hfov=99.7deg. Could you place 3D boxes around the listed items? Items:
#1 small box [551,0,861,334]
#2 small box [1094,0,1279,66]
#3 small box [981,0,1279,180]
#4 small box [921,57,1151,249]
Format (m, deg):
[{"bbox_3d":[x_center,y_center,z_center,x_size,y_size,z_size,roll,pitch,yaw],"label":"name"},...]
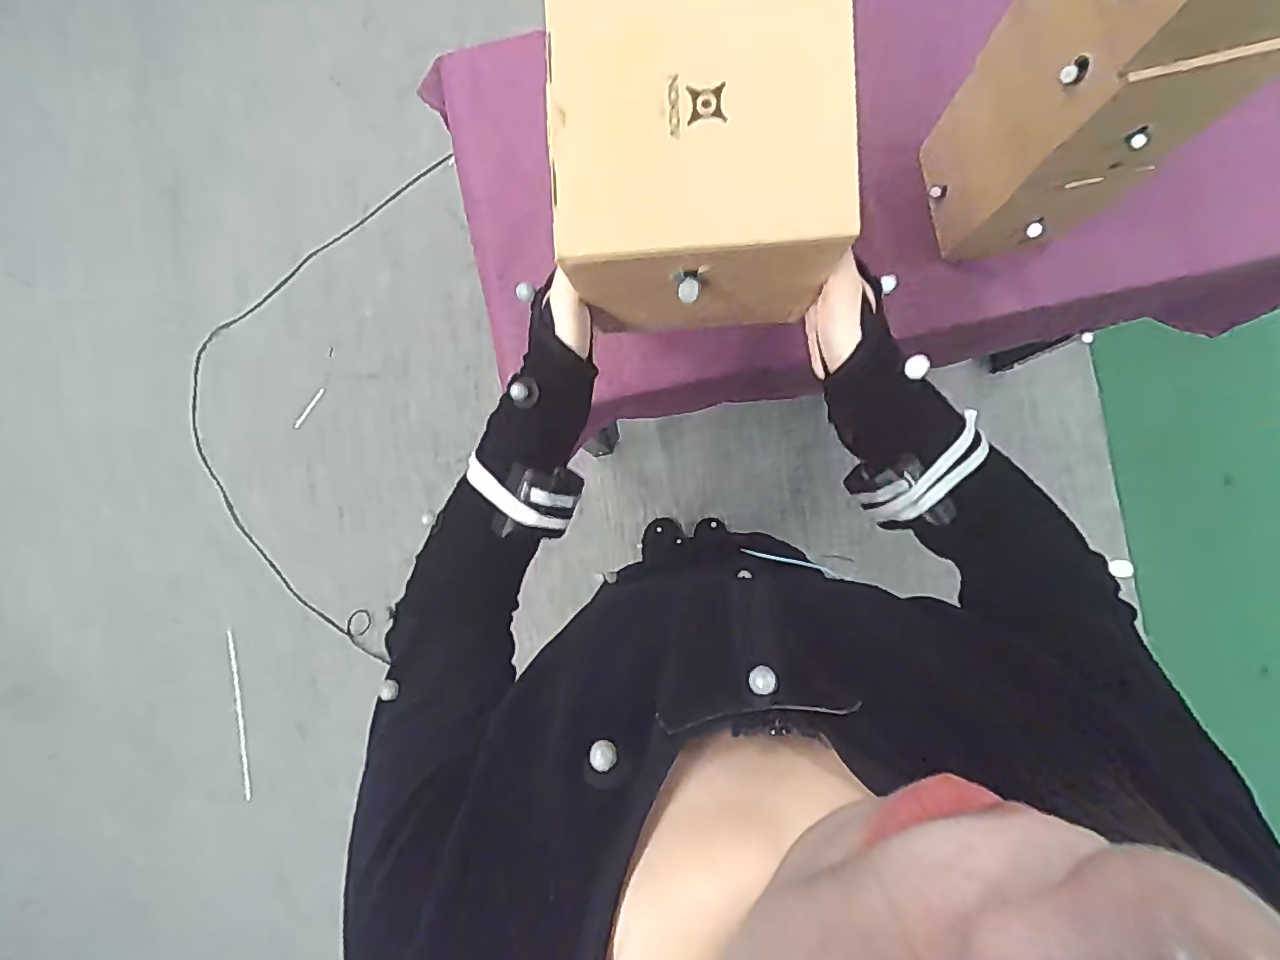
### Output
[{"bbox_3d":[0.044,-0.209,0.390,0.179,0.176,0.168,-2,91,6],"label":"small box"},{"bbox_3d":[0.468,-0.447,0.382,0.179,0.176,0.168,-11,85,4],"label":"small box"},{"bbox_3d":[0.484,-0.434,0.544,0.168,0.176,0.179,-11,86,3],"label":"small box"},{"bbox_3d":[0.498,-0.425,0.708,0.168,0.176,0.179,-10,87,3],"label":"small box"}]
